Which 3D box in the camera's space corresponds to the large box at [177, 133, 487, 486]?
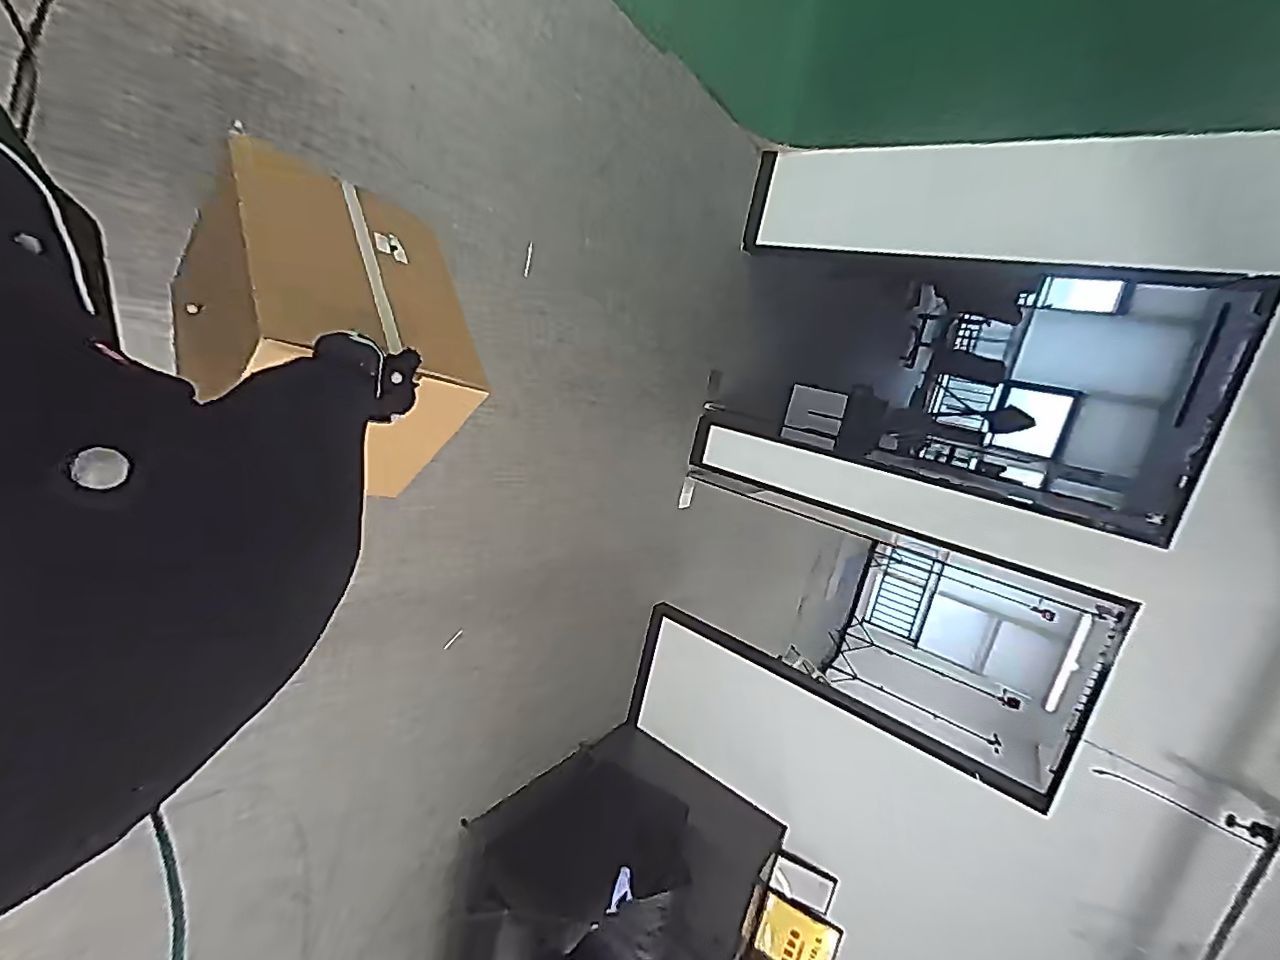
[{"bbox_3d":[-0.512,-0.237,0.883,0.320,0.408,0.320,-38,154,29],"label":"large box"}]
